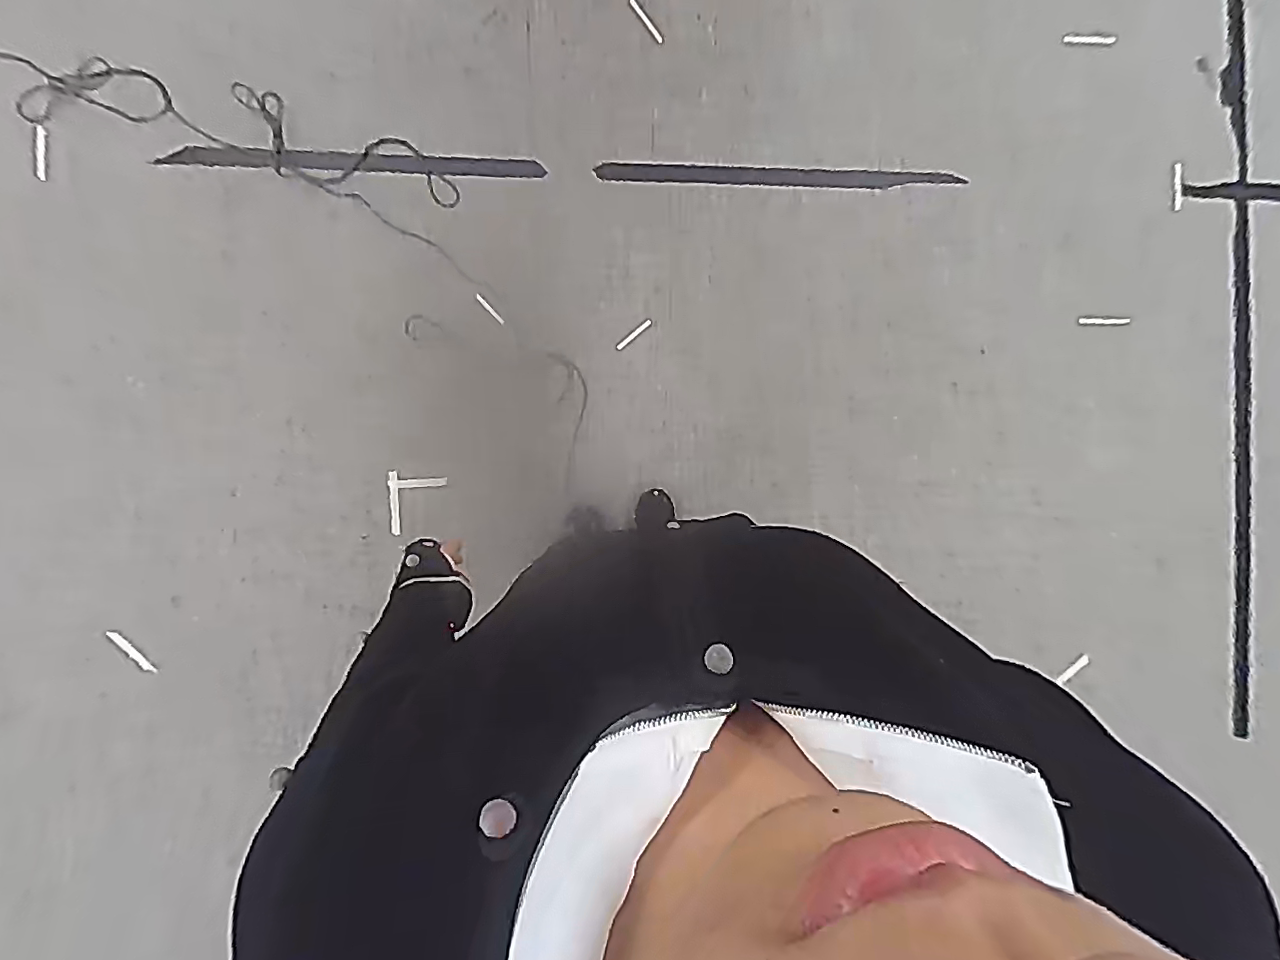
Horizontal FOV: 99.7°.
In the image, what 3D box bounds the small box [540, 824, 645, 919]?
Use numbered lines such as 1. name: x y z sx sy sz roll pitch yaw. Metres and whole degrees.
1. small box: -0.076 0.731 0.927 0.168 0.176 0.179 -3 87 -4
